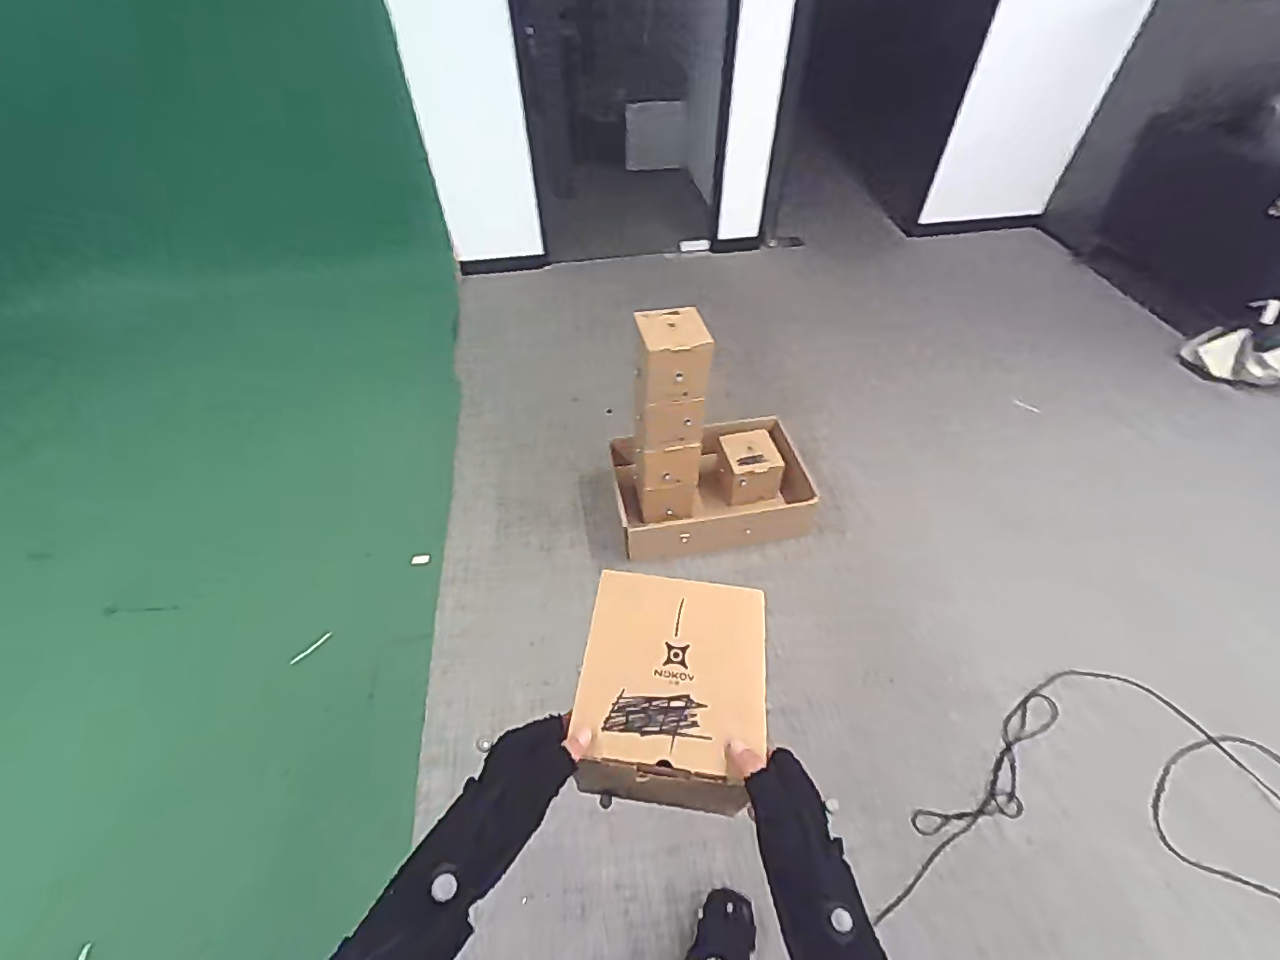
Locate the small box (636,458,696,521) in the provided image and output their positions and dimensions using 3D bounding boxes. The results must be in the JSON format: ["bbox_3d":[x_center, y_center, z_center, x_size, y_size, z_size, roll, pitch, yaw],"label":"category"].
[{"bbox_3d":[0.080,0.009,1.756,0.168,0.176,0.179,-7,48,-6],"label":"small box"}]

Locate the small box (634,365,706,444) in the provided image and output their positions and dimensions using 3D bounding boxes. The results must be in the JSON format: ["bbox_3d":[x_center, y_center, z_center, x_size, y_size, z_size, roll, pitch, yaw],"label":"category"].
[{"bbox_3d":[0.079,-0.215,1.518,0.168,0.176,0.179,-8,48,-9],"label":"small box"}]

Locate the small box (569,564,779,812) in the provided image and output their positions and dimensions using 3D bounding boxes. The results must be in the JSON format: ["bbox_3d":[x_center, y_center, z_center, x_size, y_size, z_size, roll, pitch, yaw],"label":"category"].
[{"bbox_3d":[0.035,0.213,0.544,0.168,0.176,0.179,11,52,5],"label":"small box"}]

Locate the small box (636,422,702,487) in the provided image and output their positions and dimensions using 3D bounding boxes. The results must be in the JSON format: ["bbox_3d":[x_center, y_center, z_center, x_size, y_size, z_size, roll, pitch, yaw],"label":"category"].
[{"bbox_3d":[0.080,-0.102,1.636,0.168,0.176,0.179,-7,49,-7],"label":"small box"}]

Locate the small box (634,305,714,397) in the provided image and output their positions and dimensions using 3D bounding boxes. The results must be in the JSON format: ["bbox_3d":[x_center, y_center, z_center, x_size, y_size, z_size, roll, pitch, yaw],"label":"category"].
[{"bbox_3d":[0.082,-0.328,1.399,0.168,0.176,0.179,-7,49,-10],"label":"small box"}]
